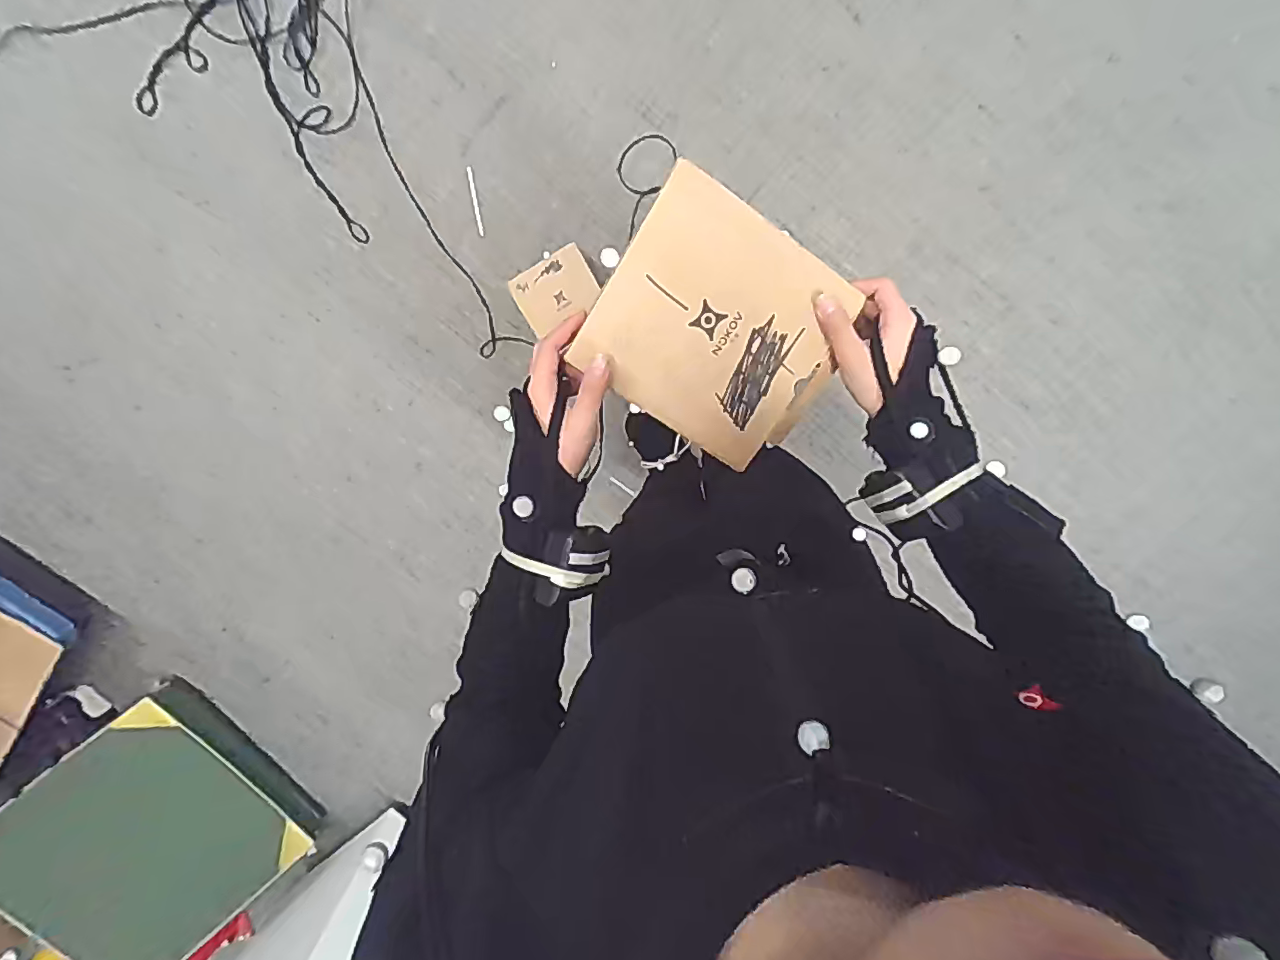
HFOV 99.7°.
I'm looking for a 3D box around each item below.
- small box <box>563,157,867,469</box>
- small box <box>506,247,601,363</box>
[{"bbox_3d":[0.052,-0.141,0.481,0.179,0.176,0.168,31,103,-13],"label":"small box"},{"bbox_3d":[-0.156,-0.371,1.166,0.168,0.176,0.179,-28,102,8],"label":"small box"}]
